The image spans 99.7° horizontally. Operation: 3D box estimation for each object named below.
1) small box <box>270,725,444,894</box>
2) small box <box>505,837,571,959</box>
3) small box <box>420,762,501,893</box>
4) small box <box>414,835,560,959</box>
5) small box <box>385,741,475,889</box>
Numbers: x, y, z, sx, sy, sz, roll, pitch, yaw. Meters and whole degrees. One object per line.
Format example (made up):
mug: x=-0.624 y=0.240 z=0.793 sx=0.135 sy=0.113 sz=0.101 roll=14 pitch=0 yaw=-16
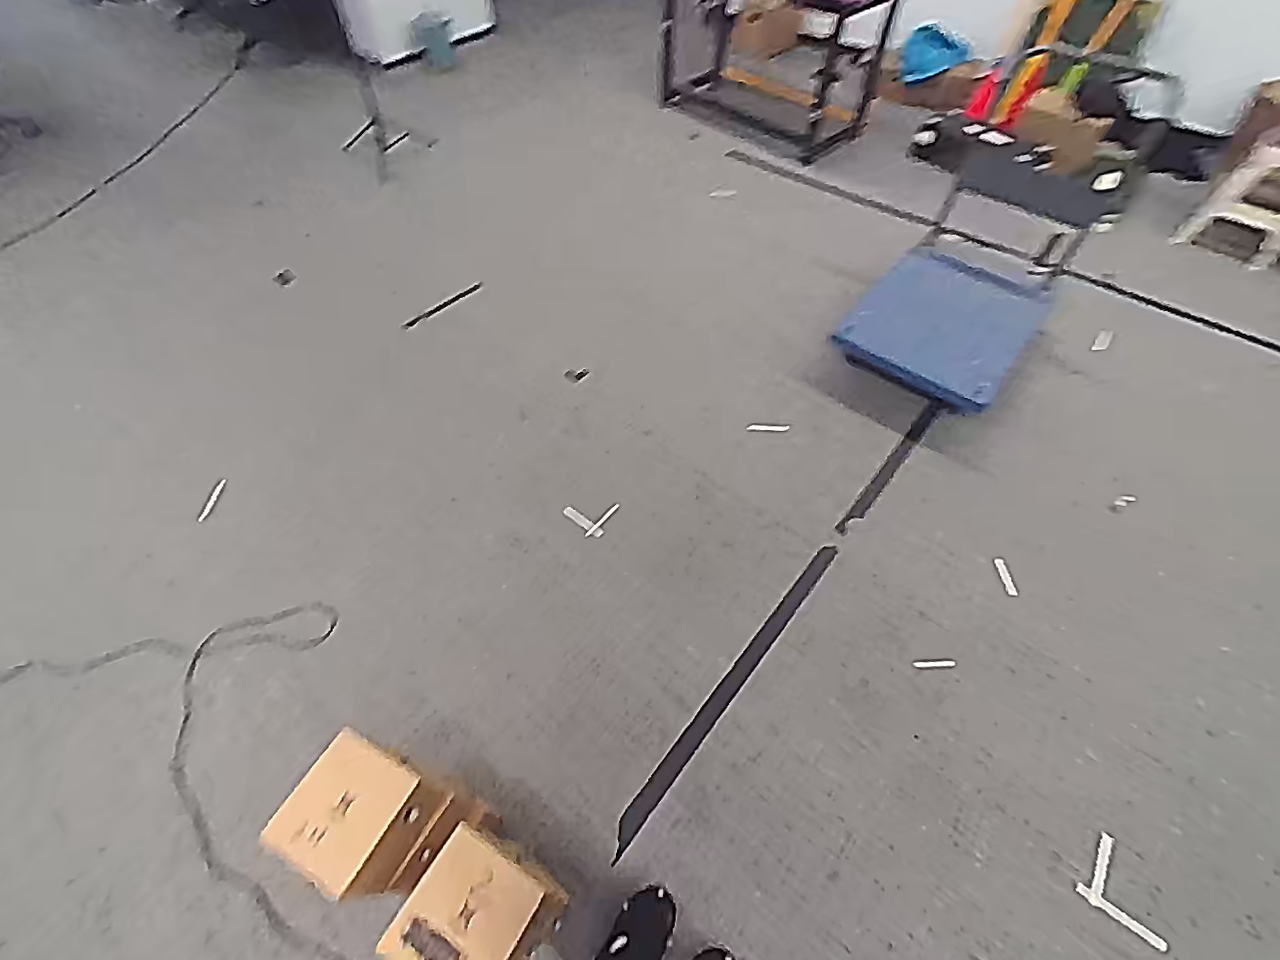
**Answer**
small box: x=-0.453 y=0.549 z=0.906 sx=0.168 sy=0.176 sz=0.179 roll=24 pitch=57 yaw=16
small box: x=-0.255 y=0.862 z=1.091 sx=0.168 sy=0.176 sz=0.179 roll=32 pitch=61 yaw=21
small box: x=-0.424 y=0.749 z=1.168 sx=0.168 sy=0.176 sz=0.179 roll=26 pitch=58 yaw=16
small box: x=-0.257 y=0.770 z=0.955 sx=0.168 sy=0.176 sz=0.179 roll=28 pitch=58 yaw=19
small box: x=-0.446 y=0.644 z=1.041 sx=0.168 sy=0.176 sz=0.179 roll=27 pitch=57 yaw=17
